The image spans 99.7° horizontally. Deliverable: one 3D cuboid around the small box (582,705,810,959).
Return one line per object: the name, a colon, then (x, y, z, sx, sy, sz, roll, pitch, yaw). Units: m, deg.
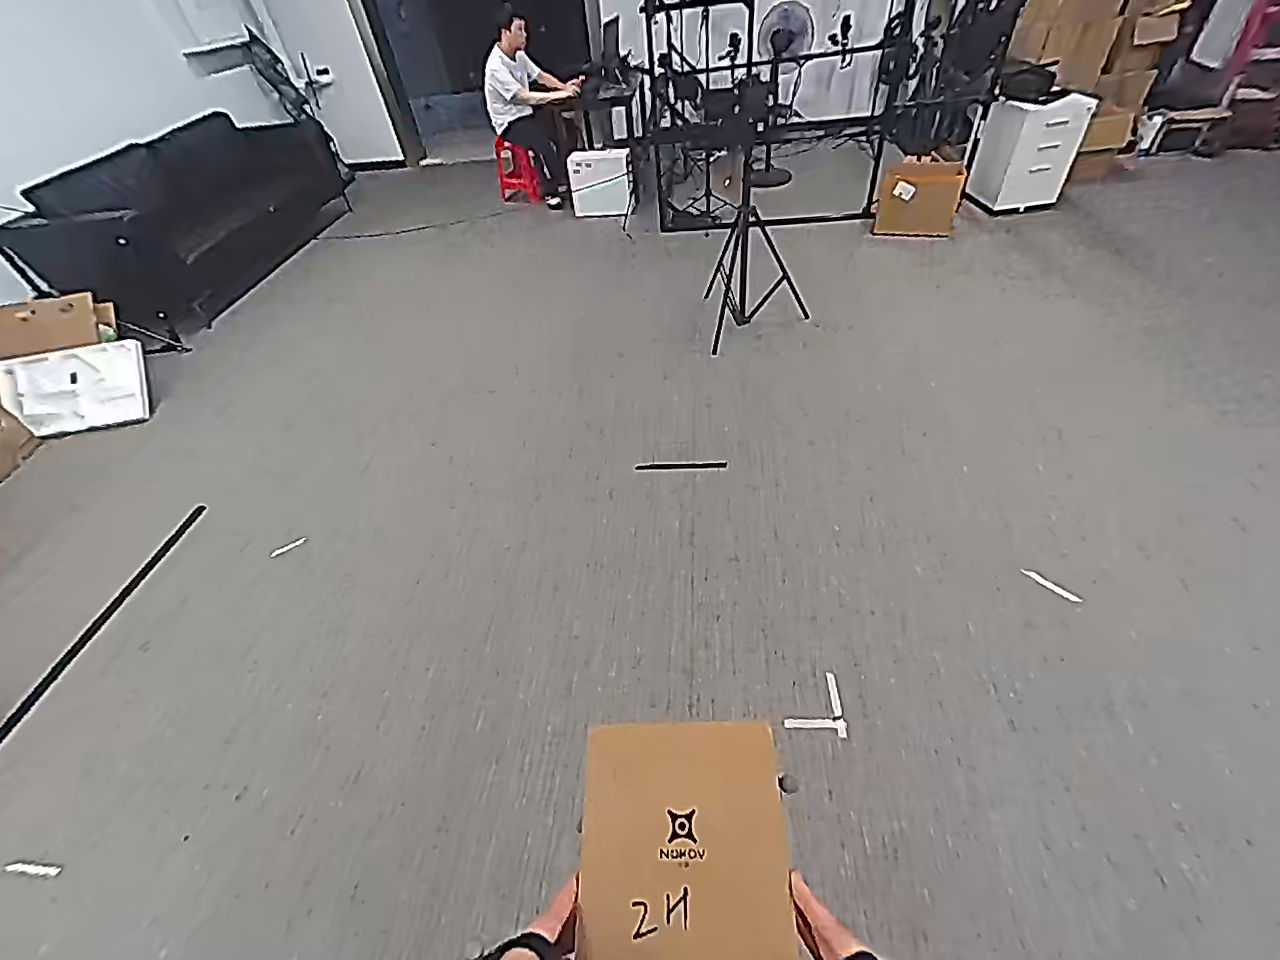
small box: (0.050, 0.318, 0.495, 0.168, 0.176, 0.179, -5, 55, 8)
